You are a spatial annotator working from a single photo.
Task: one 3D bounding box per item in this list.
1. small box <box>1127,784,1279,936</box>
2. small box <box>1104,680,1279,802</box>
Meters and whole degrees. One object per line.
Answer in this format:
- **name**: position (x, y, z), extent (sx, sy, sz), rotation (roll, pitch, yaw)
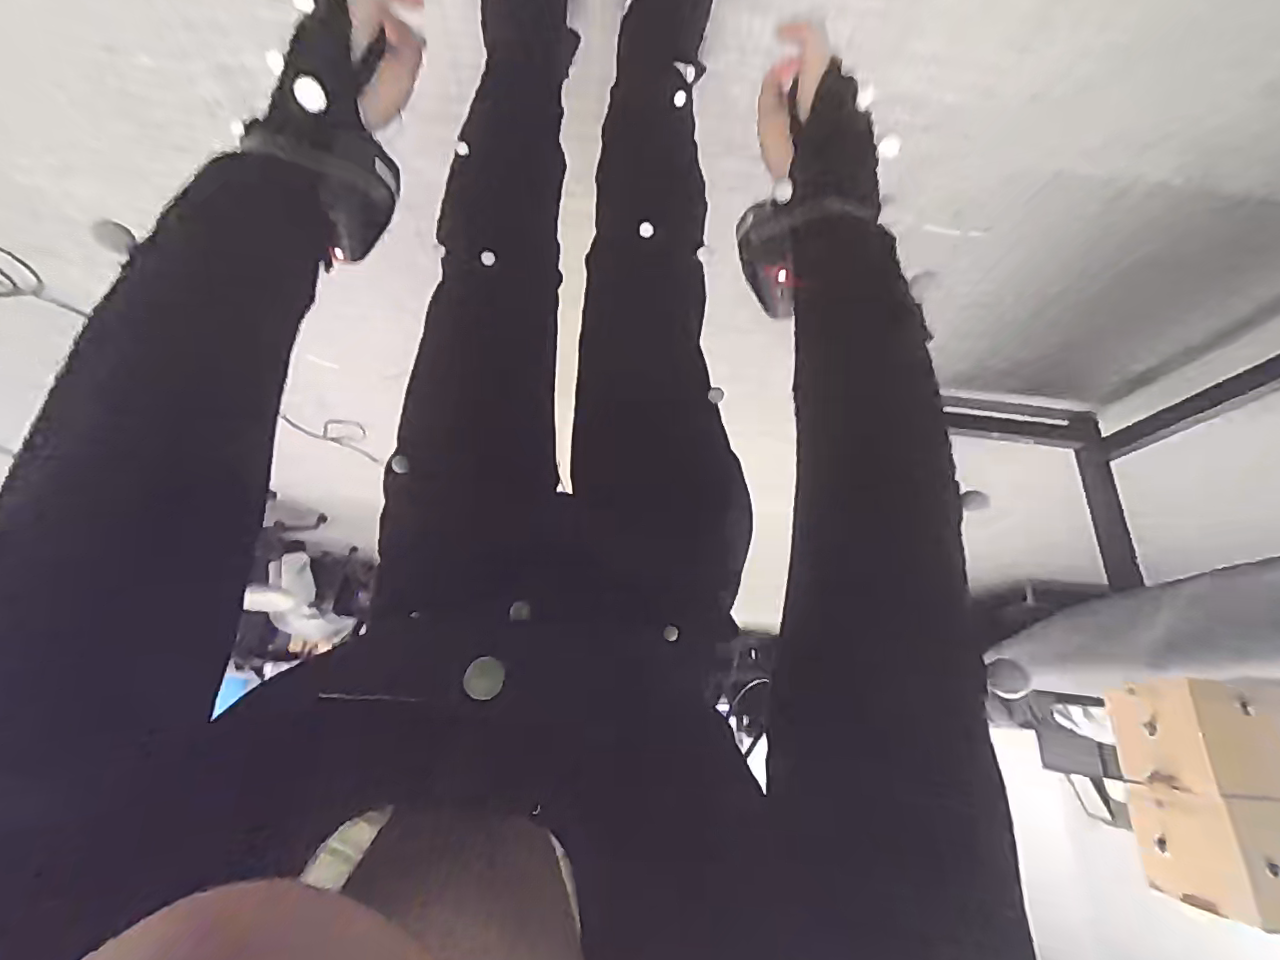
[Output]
- **small box**: position (0.932, 0.582, 0.850), extent (0.179, 0.176, 0.168), rotation (5, 158, -5)
- **small box**: position (0.942, 0.430, 0.908), extent (0.179, 0.176, 0.168), rotation (5, 158, -2)
